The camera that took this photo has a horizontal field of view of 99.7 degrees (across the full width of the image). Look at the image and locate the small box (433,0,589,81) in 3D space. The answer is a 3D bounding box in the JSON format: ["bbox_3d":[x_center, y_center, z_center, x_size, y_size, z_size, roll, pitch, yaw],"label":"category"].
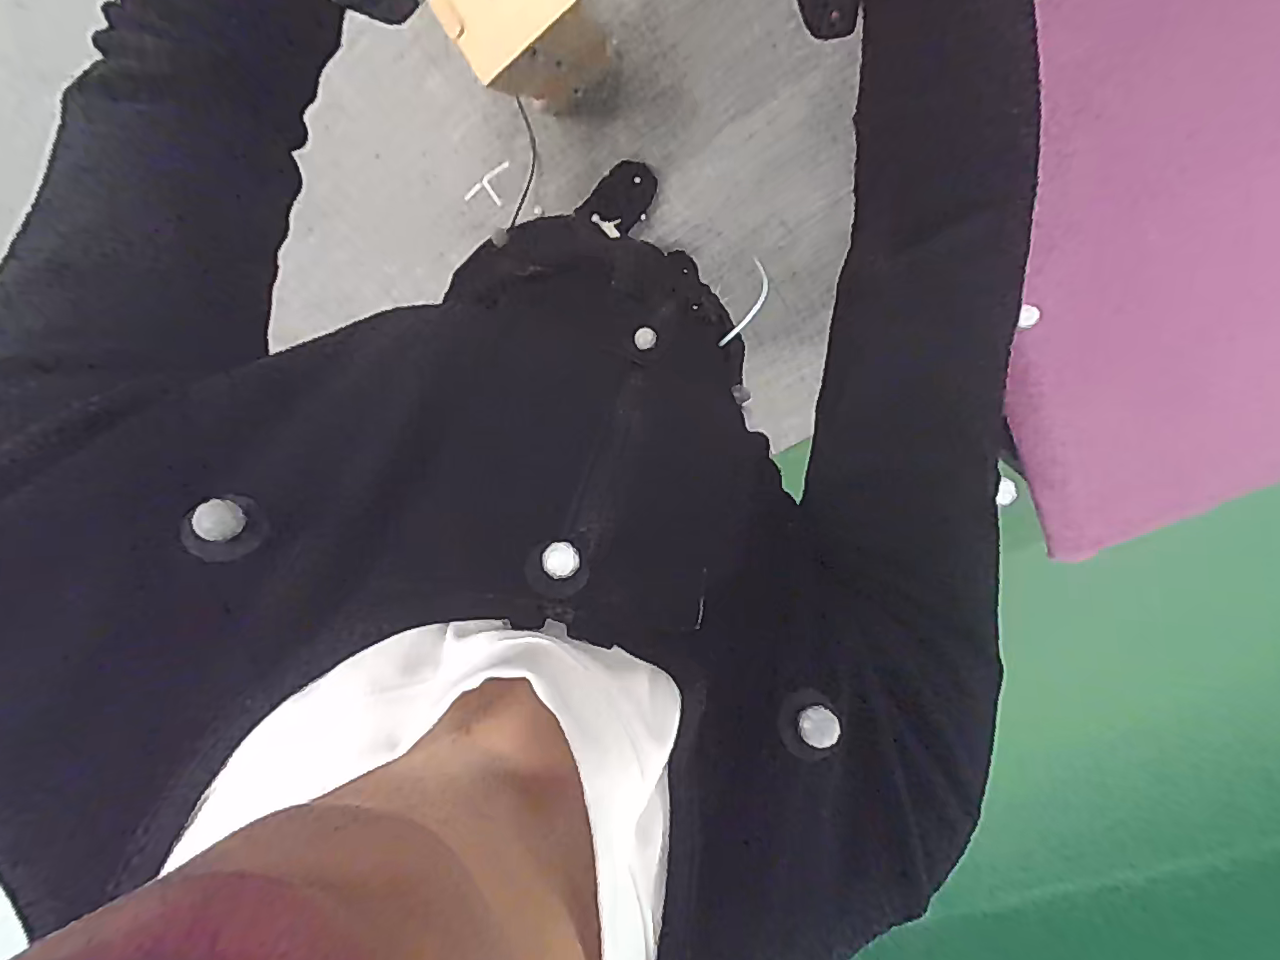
[{"bbox_3d":[-0.183,-0.687,0.739,0.179,0.176,0.168,-27,117,19],"label":"small box"}]
